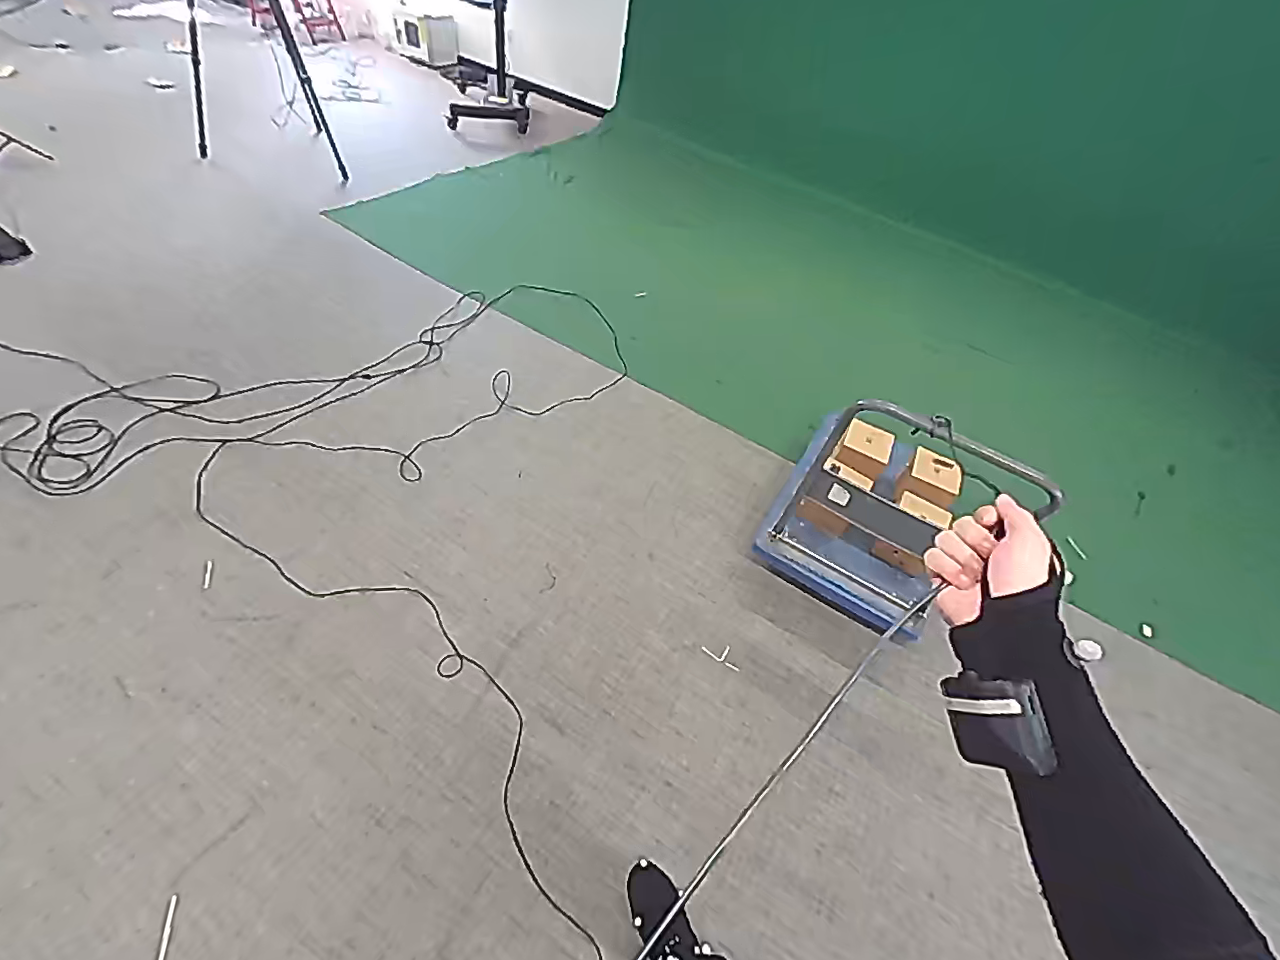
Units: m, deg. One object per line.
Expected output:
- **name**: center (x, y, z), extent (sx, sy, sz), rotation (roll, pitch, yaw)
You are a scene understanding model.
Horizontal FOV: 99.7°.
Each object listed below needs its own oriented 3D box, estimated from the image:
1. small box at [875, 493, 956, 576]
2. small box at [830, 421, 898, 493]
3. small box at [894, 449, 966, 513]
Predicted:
- **small box**: center (0.912, 0.184, 1.800), extent (0.168, 0.176, 0.179), rotation (30, 51, 15)
- **small box**: center (0.832, -0.084, 2.020), extent (0.168, 0.176, 0.179), rotation (27, 50, 12)
- **small box**: center (1.052, 0.024, 1.967), extent (0.168, 0.176, 0.179), rotation (26, 50, 13)
